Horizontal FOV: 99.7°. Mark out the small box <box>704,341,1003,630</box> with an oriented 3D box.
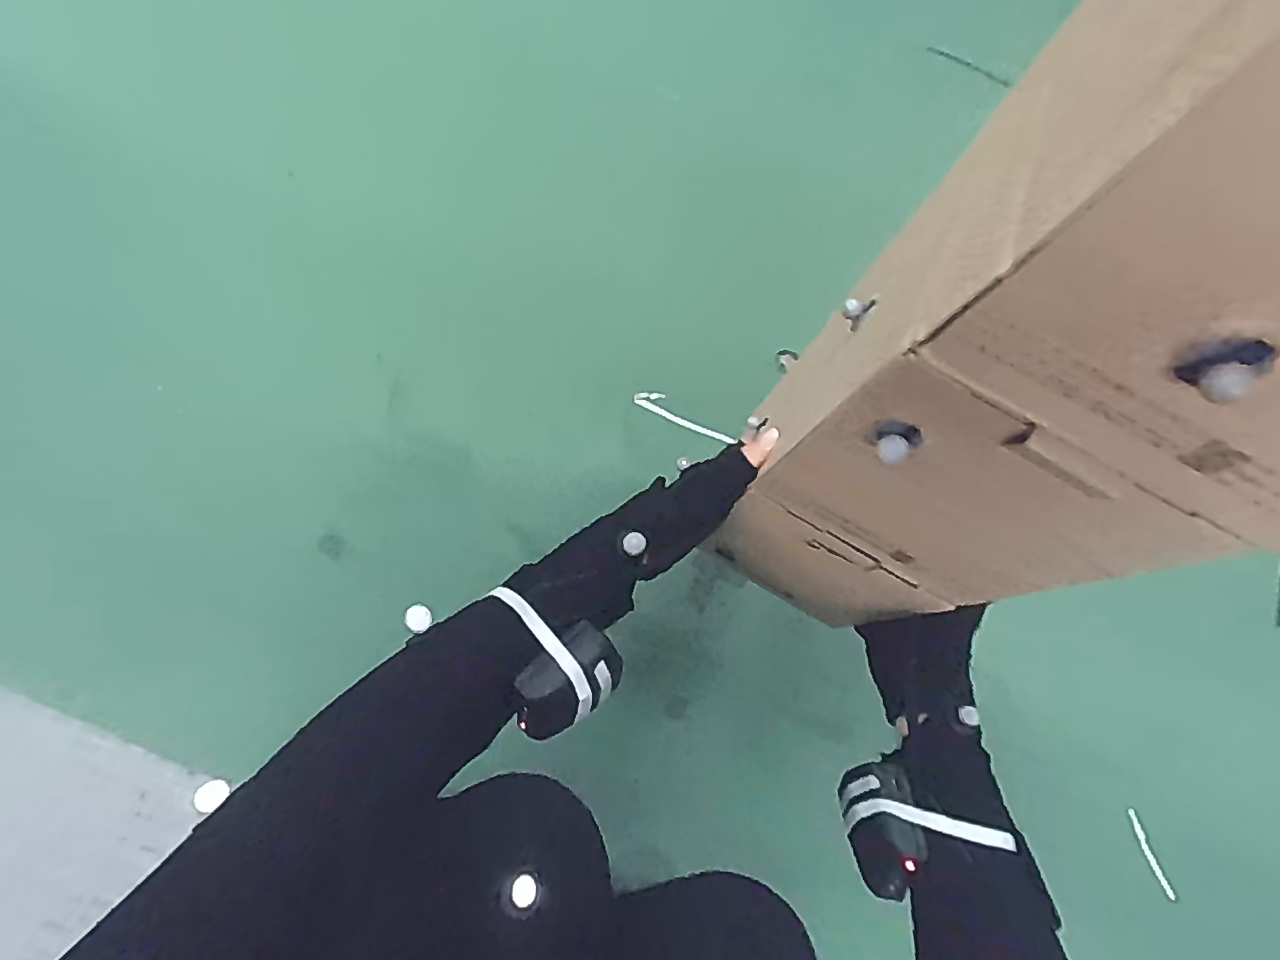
[{"bbox_3d":[0.172,0.020,0.482,0.168,0.176,0.179,28,69,0],"label":"small box"}]
